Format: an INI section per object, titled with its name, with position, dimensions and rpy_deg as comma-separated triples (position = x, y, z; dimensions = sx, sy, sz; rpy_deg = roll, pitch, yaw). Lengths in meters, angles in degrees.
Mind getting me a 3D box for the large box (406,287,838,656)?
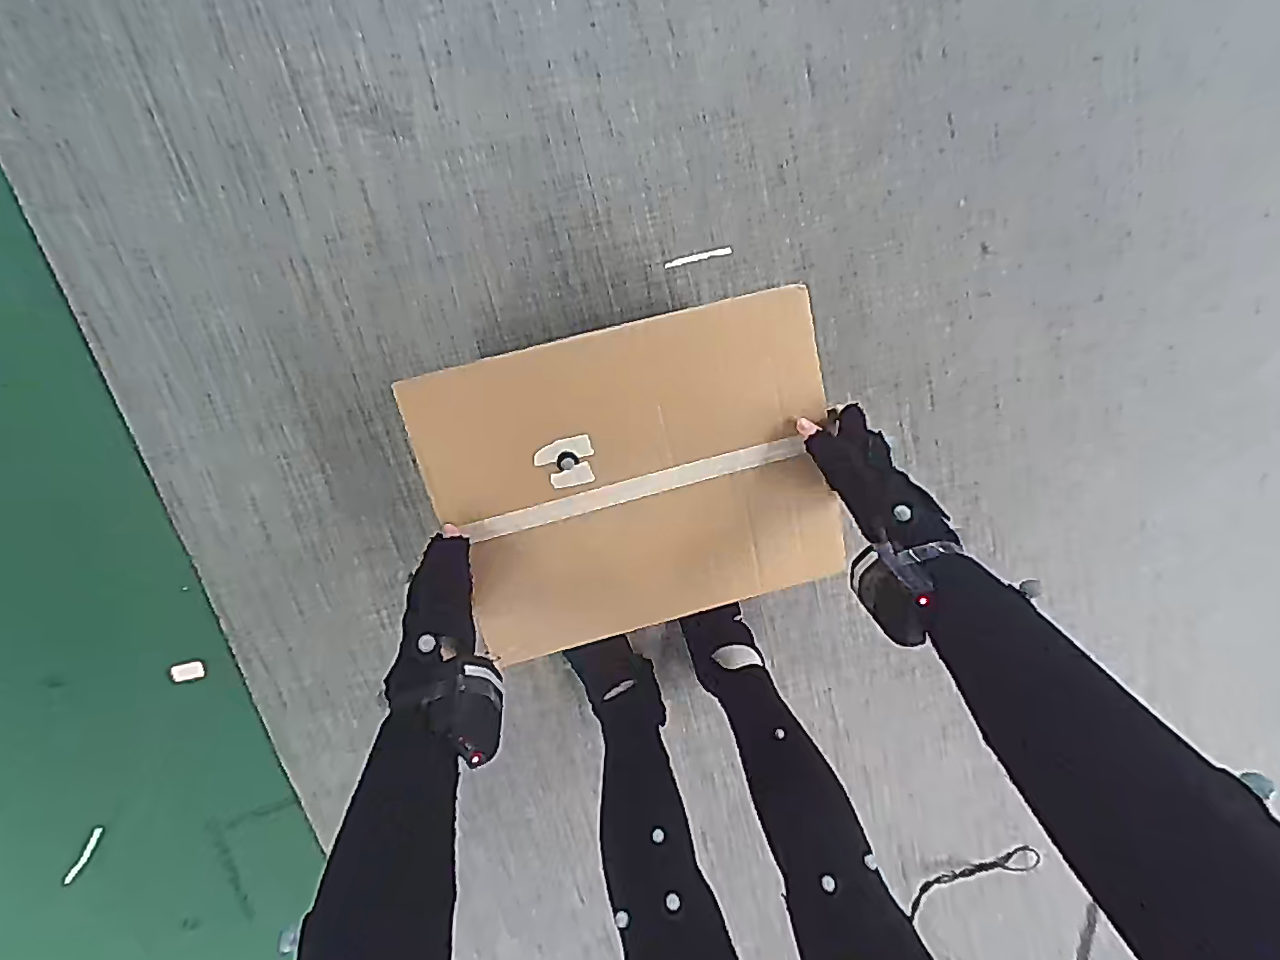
[large box]
position = -0.015, -0.036, 0.706
dimensions = 0.408, 0.320, 0.320
rpy_deg = -14, 105, -3
